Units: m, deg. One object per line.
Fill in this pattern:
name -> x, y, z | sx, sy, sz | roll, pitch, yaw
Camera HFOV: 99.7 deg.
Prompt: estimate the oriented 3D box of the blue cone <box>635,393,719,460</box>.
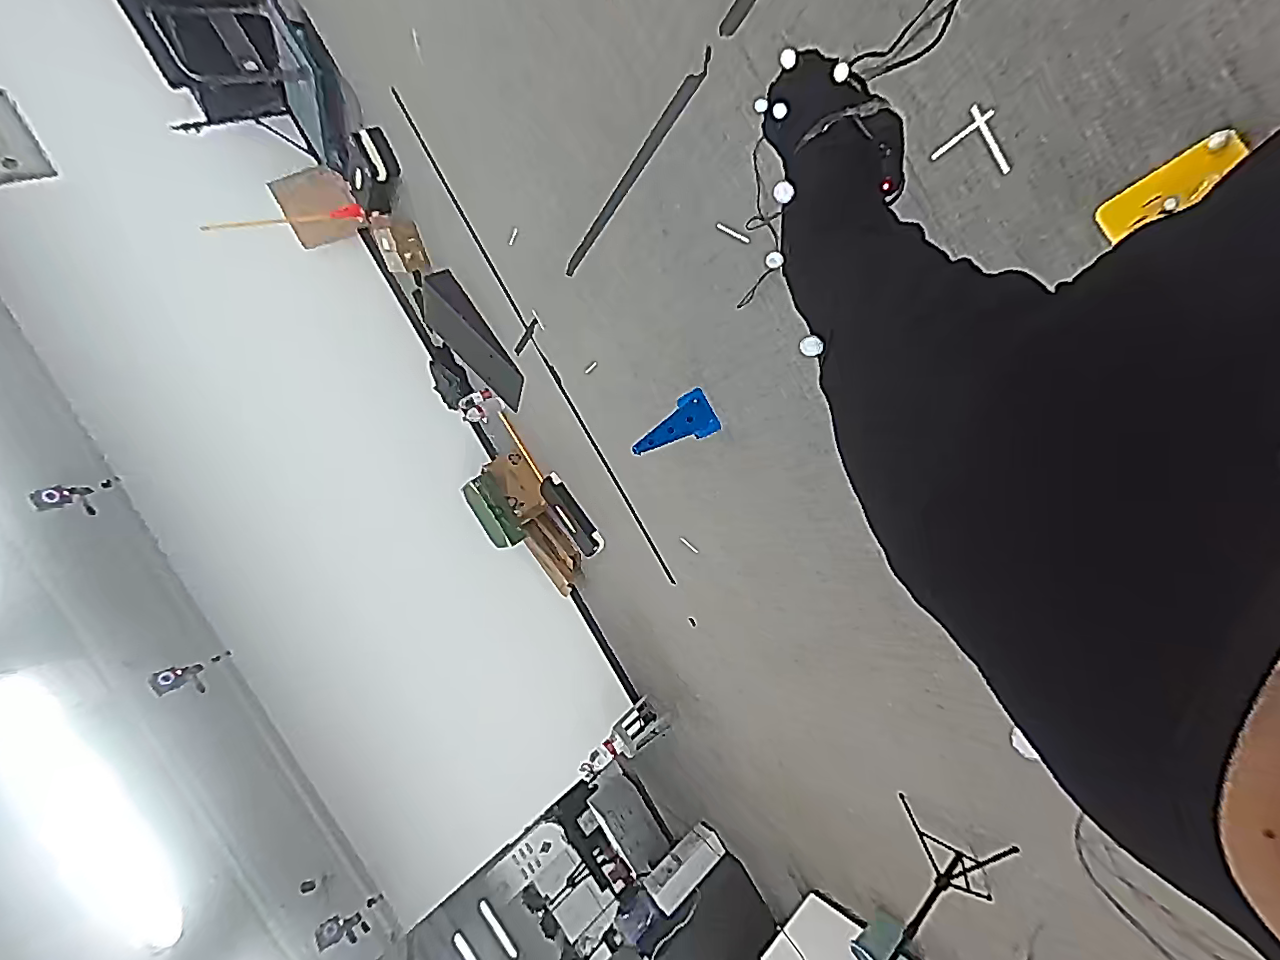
blue cone -> 0.125, -0.194, 2.230 | 0.192, 0.380, 0.193 | 60, 153, -5
